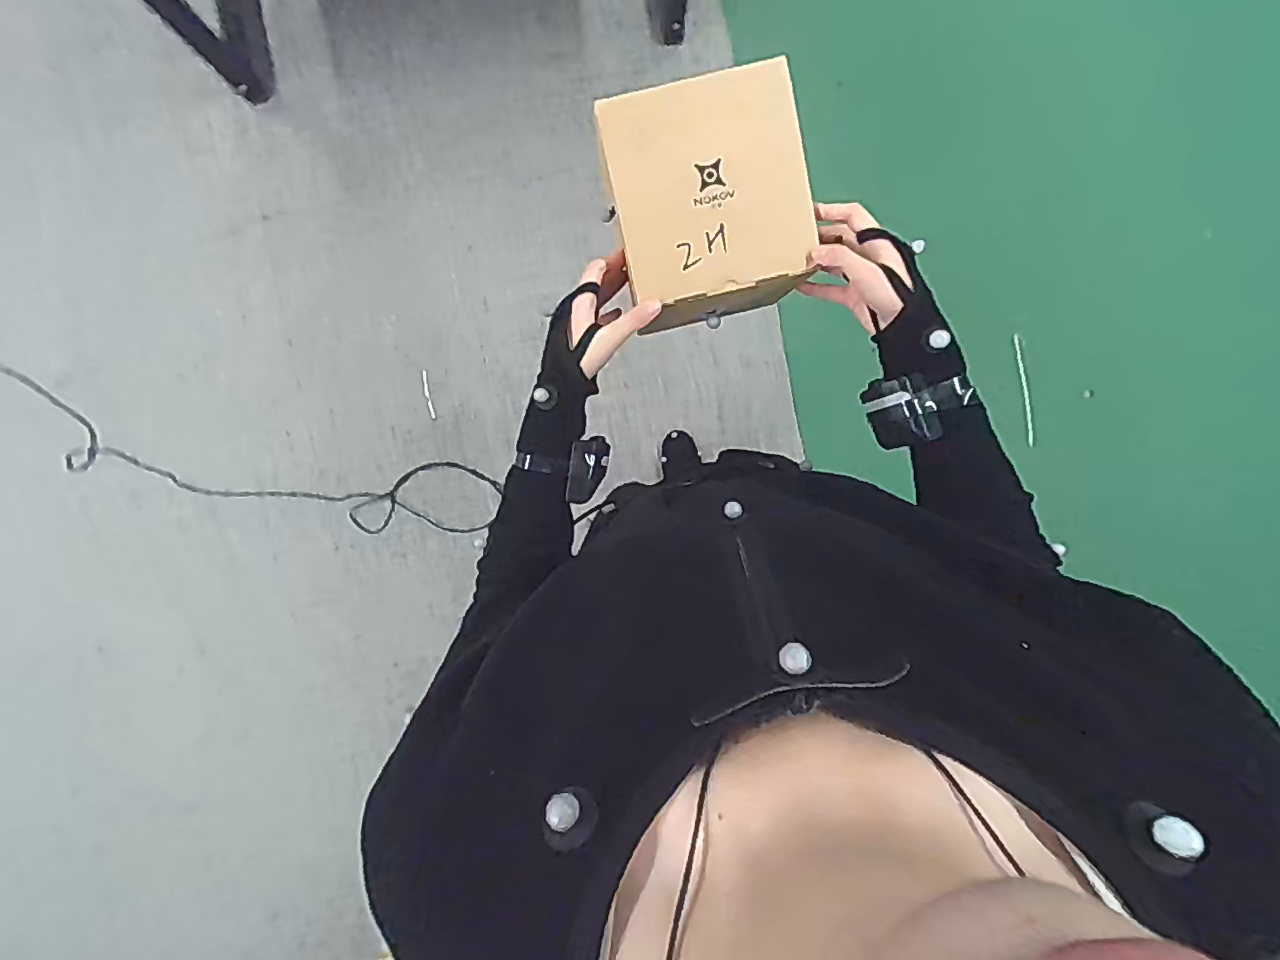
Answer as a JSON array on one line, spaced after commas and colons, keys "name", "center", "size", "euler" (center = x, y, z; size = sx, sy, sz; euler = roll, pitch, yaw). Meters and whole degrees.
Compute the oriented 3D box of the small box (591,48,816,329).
[{"name": "small box", "center": [0.053, -0.264, 0.533], "size": [0.168, 0.176, 0.179], "euler": [-13, 97, 1]}]
